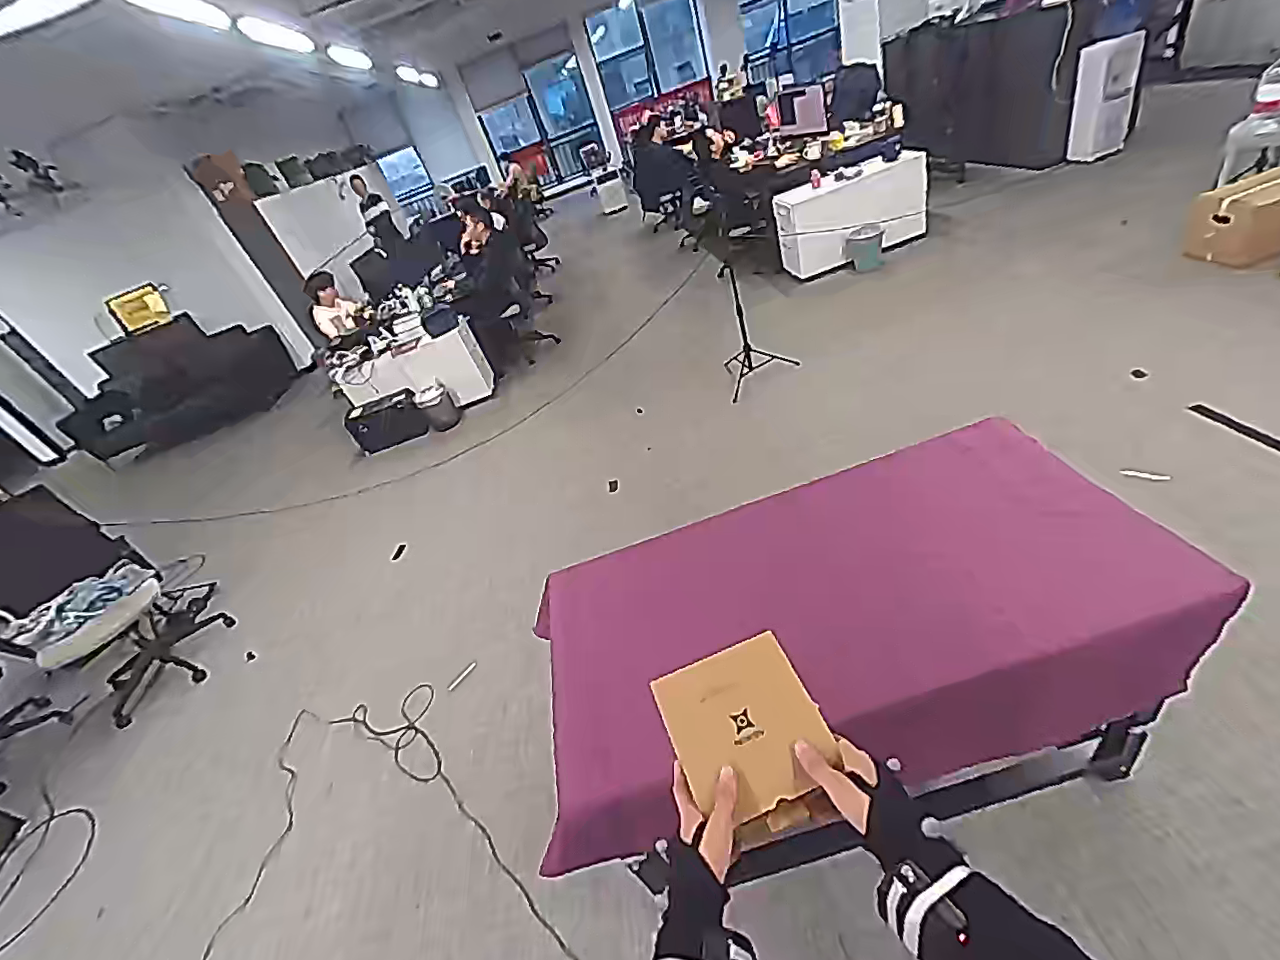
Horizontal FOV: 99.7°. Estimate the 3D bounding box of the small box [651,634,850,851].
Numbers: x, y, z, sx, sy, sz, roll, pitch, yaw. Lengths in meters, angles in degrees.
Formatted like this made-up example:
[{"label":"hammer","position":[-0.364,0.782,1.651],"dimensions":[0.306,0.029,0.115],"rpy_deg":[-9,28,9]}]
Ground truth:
[{"label":"small box","position":[0.128,0.326,0.662],"dimensions":[0.168,0.176,0.179],"rpy_deg":[-21,48,-7]}]
